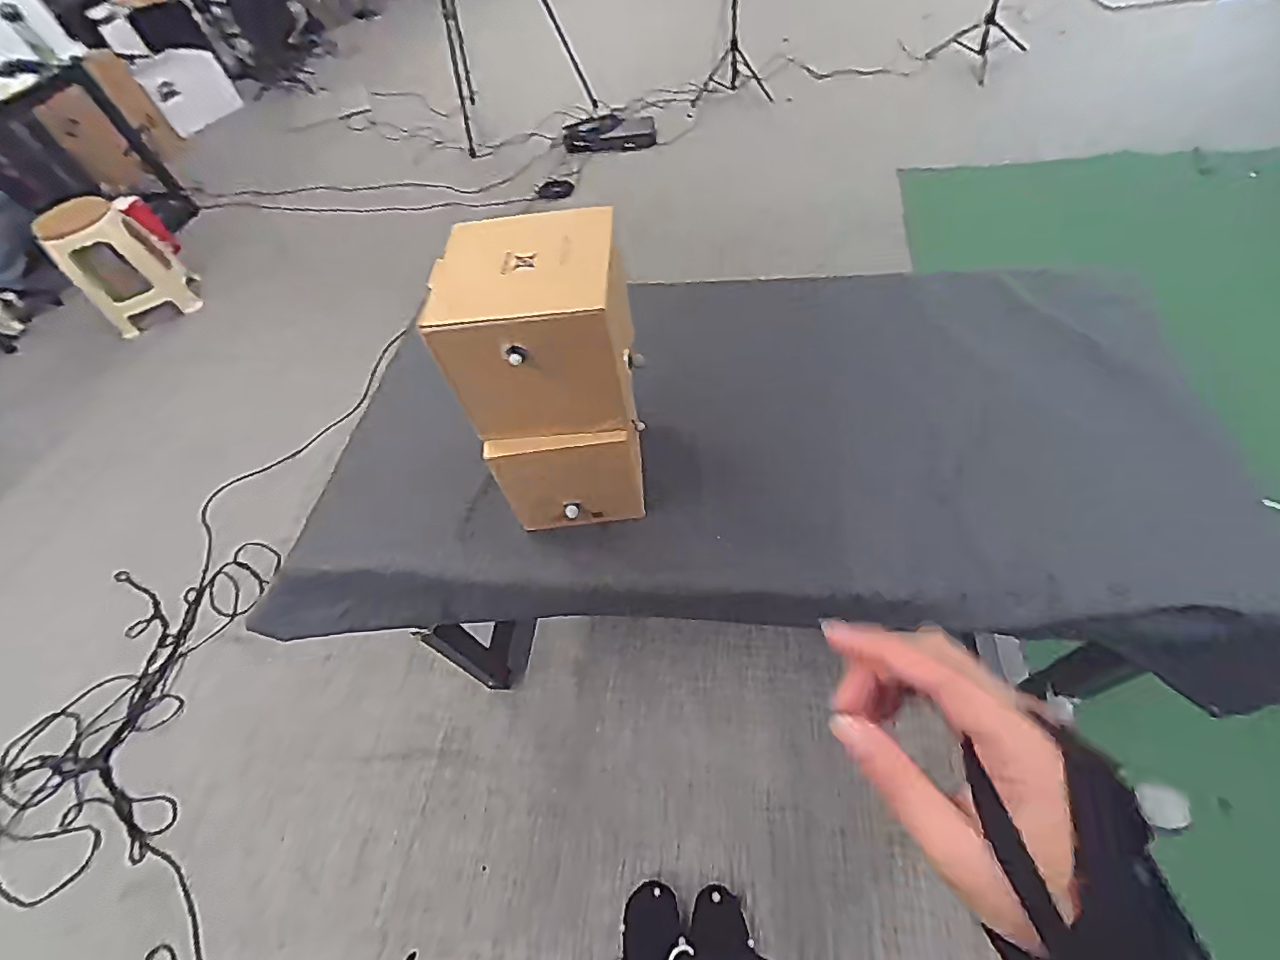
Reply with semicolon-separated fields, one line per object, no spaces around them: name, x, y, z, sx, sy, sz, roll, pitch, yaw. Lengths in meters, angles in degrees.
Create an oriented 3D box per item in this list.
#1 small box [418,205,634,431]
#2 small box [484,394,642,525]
small box;-0.105;-0.167;0.588;0.179;0.176;0.168;-3;56;5
small box;-0.090;-0.062;0.712;0.168;0.176;0.179;-7;55;4
